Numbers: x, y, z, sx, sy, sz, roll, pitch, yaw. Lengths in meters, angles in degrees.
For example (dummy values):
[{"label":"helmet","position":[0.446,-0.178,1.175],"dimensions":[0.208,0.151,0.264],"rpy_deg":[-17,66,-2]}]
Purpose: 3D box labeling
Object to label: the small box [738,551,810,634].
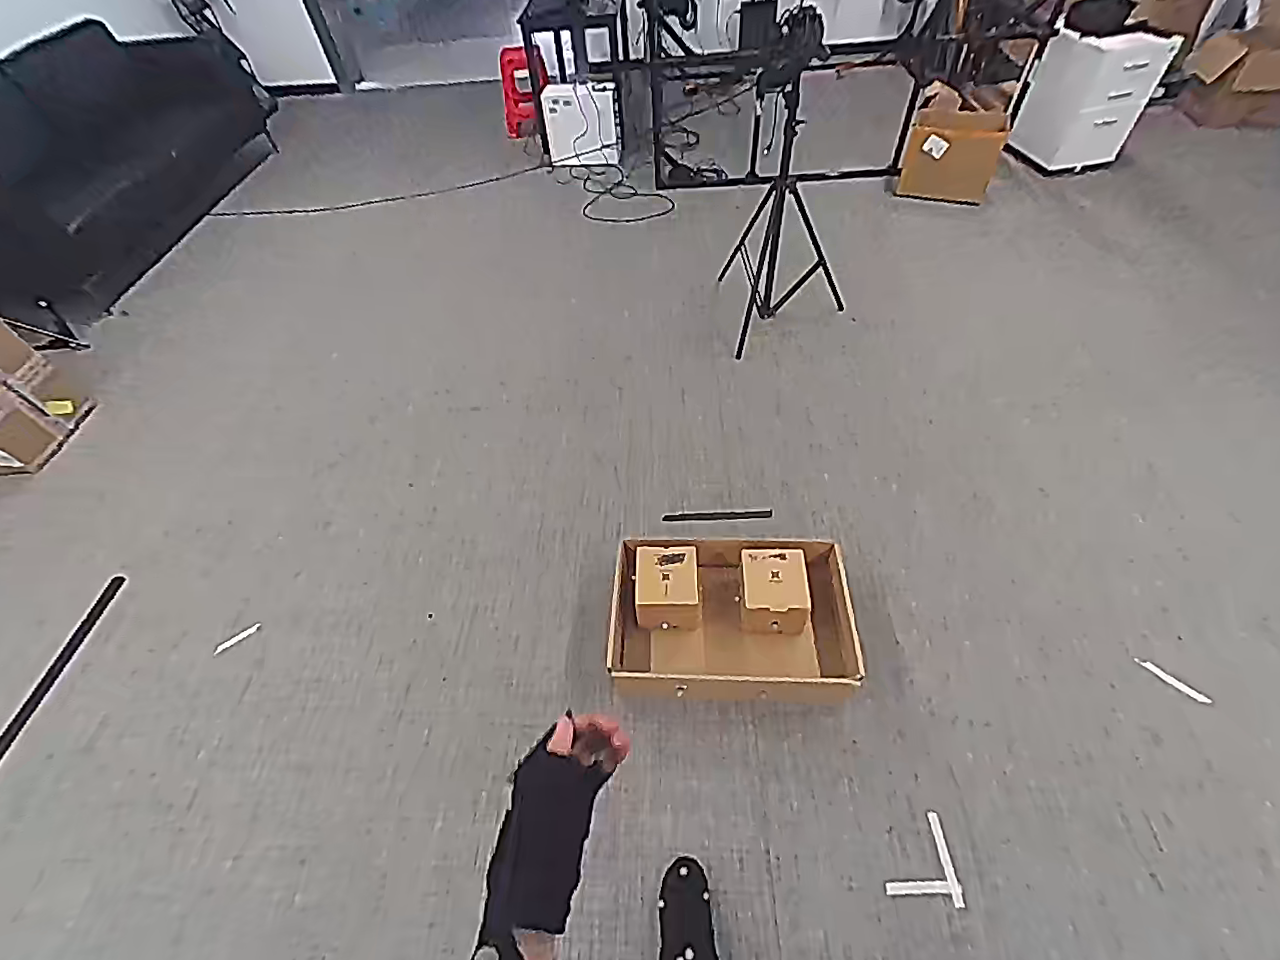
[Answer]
[{"label":"small box","position":[0.359,0.310,1.474],"dimensions":[0.168,0.176,0.179],"rpy_deg":[0,53,5]}]
